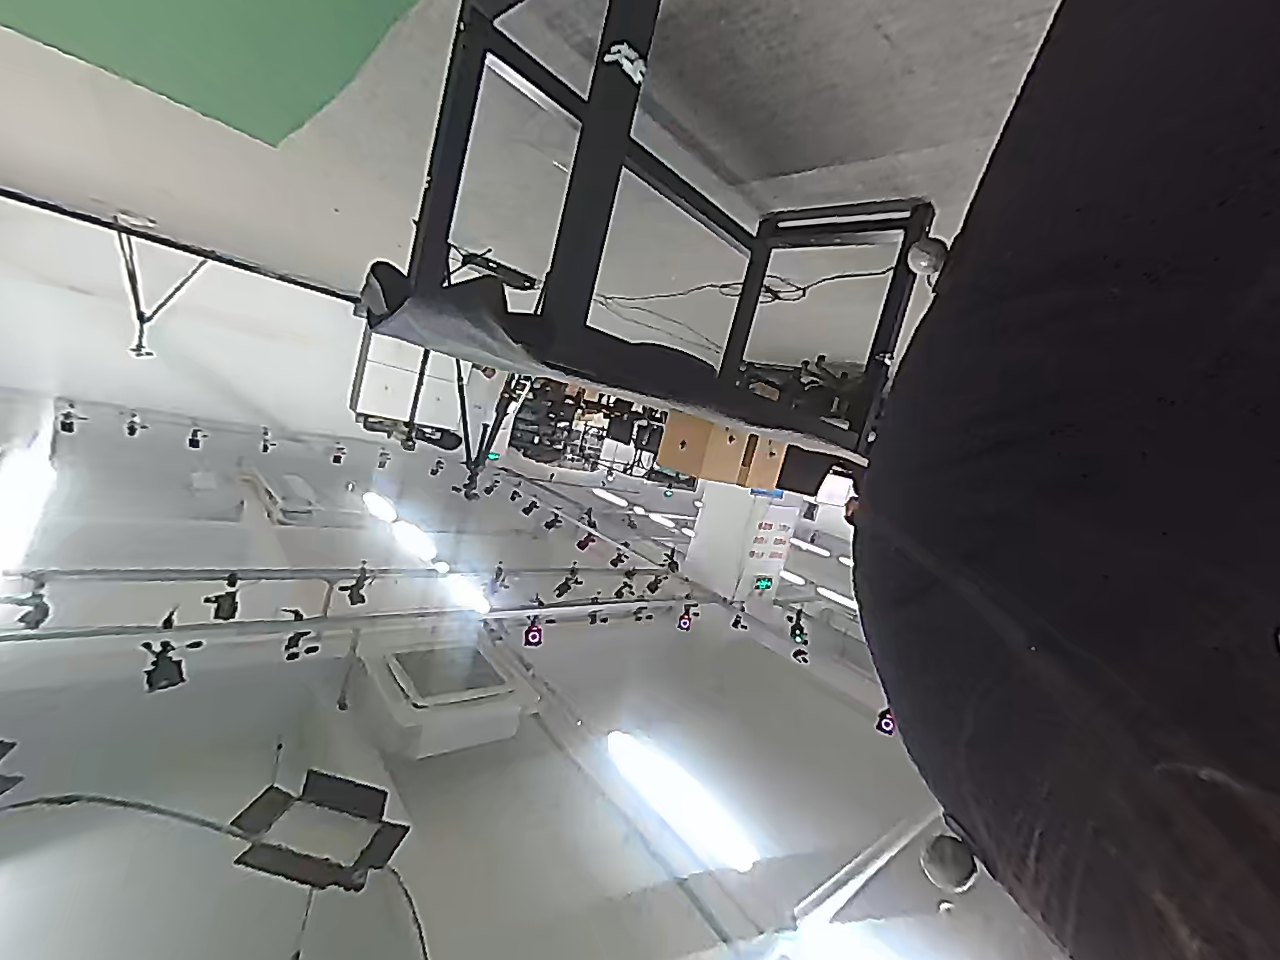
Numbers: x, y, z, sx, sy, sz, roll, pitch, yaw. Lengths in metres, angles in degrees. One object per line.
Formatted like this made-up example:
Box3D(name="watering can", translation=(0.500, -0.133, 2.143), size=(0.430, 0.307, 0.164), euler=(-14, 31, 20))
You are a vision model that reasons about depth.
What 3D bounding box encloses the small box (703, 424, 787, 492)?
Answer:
Box3D(name="small box", translation=(0.328, -0.072, 1.680), size=(0.168, 0.176, 0.179), euler=(9, -172, -45))
